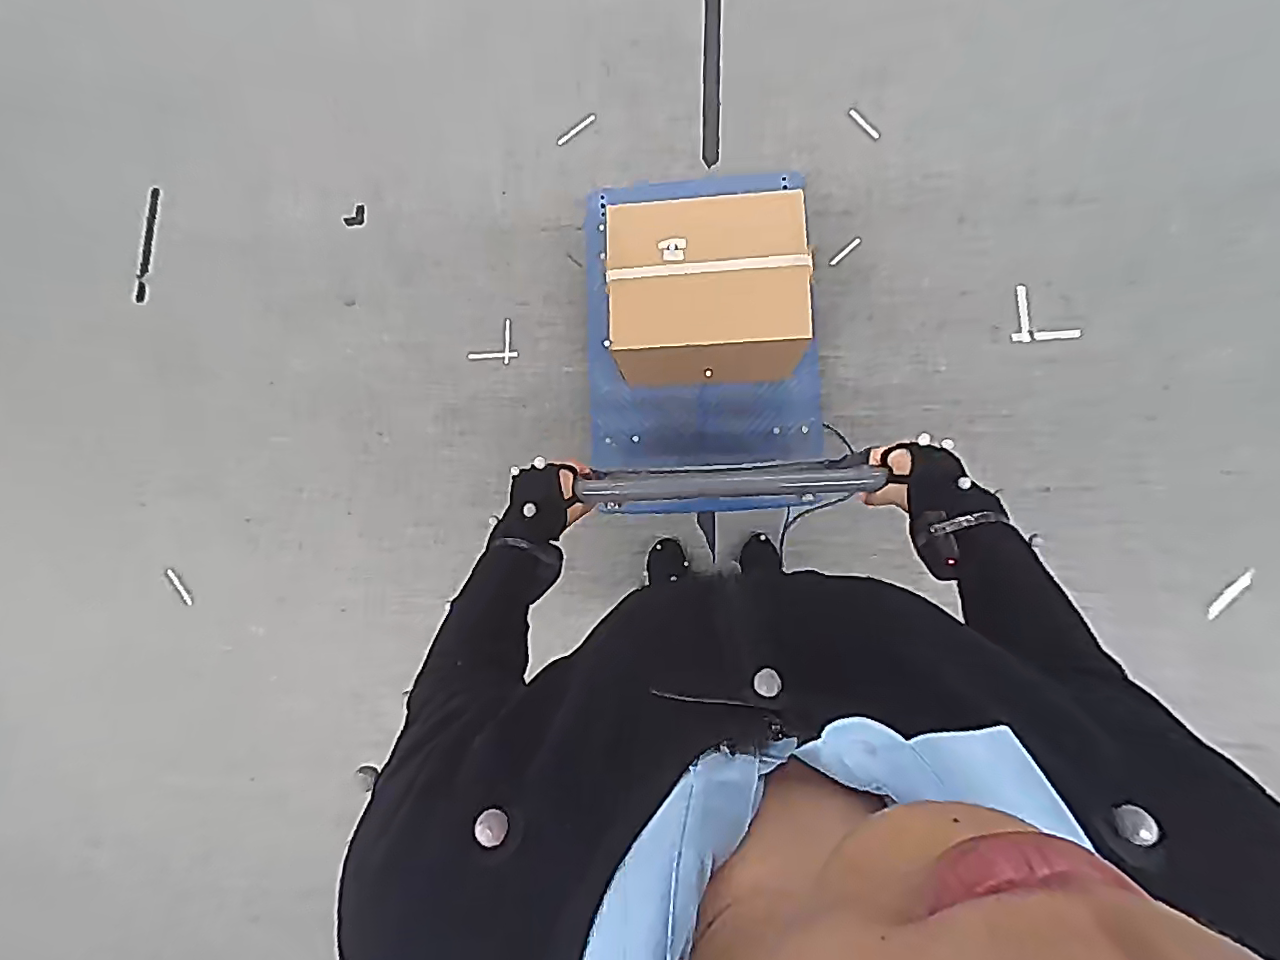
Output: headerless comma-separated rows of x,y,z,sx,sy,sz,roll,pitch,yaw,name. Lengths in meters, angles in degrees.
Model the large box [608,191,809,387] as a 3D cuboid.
0.154,-0.416,1.262,0.408,0.320,0.320,-3,83,7,large box
